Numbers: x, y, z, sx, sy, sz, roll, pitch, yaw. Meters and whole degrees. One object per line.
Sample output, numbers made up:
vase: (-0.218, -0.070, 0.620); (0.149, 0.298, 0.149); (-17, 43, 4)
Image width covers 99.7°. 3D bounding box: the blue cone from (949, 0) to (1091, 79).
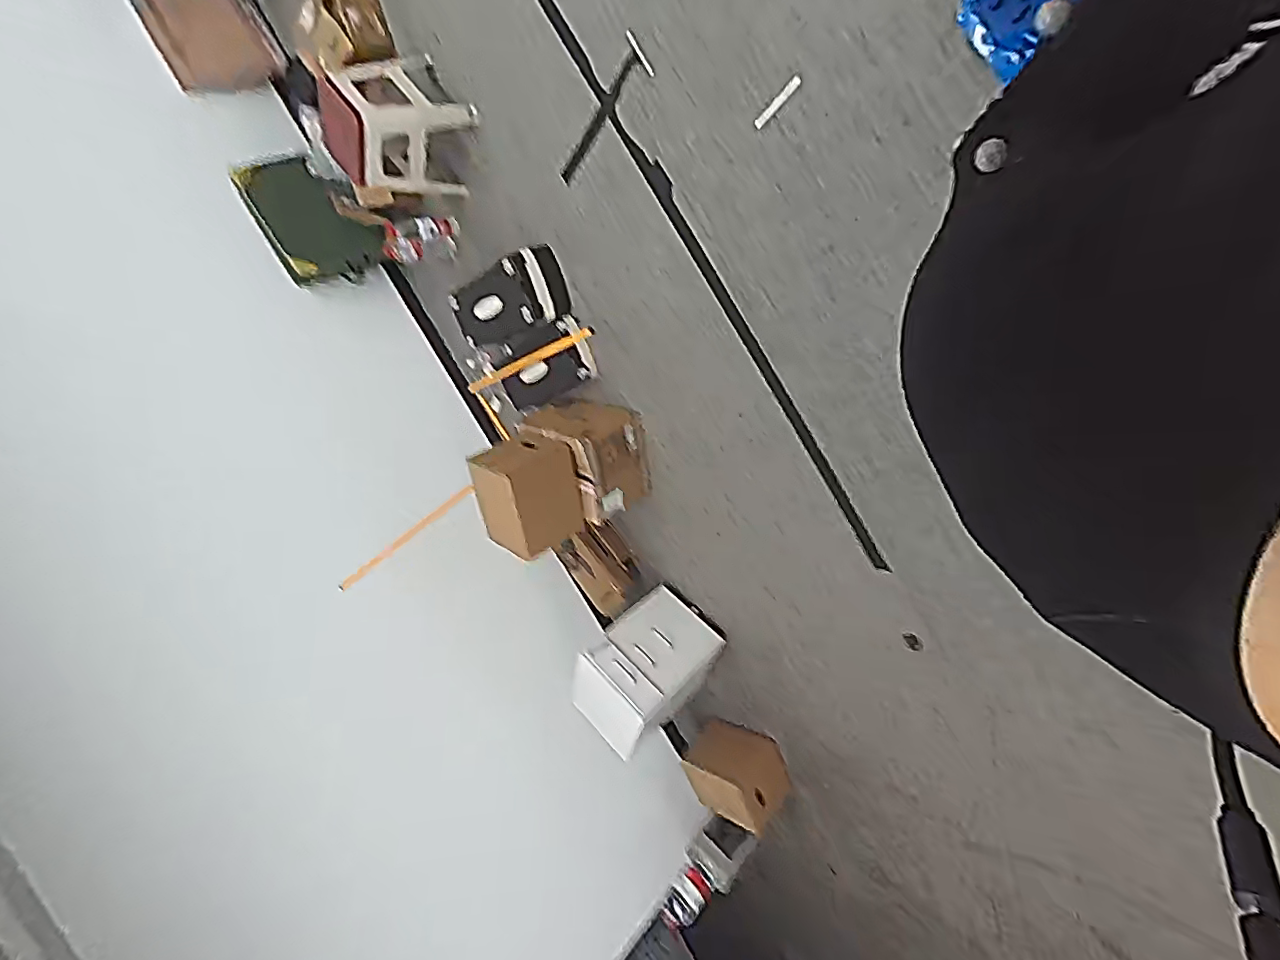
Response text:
blue cone: (0.594, -0.817, 0.903); (0.192, 0.380, 0.193); (57, 144, 1)
